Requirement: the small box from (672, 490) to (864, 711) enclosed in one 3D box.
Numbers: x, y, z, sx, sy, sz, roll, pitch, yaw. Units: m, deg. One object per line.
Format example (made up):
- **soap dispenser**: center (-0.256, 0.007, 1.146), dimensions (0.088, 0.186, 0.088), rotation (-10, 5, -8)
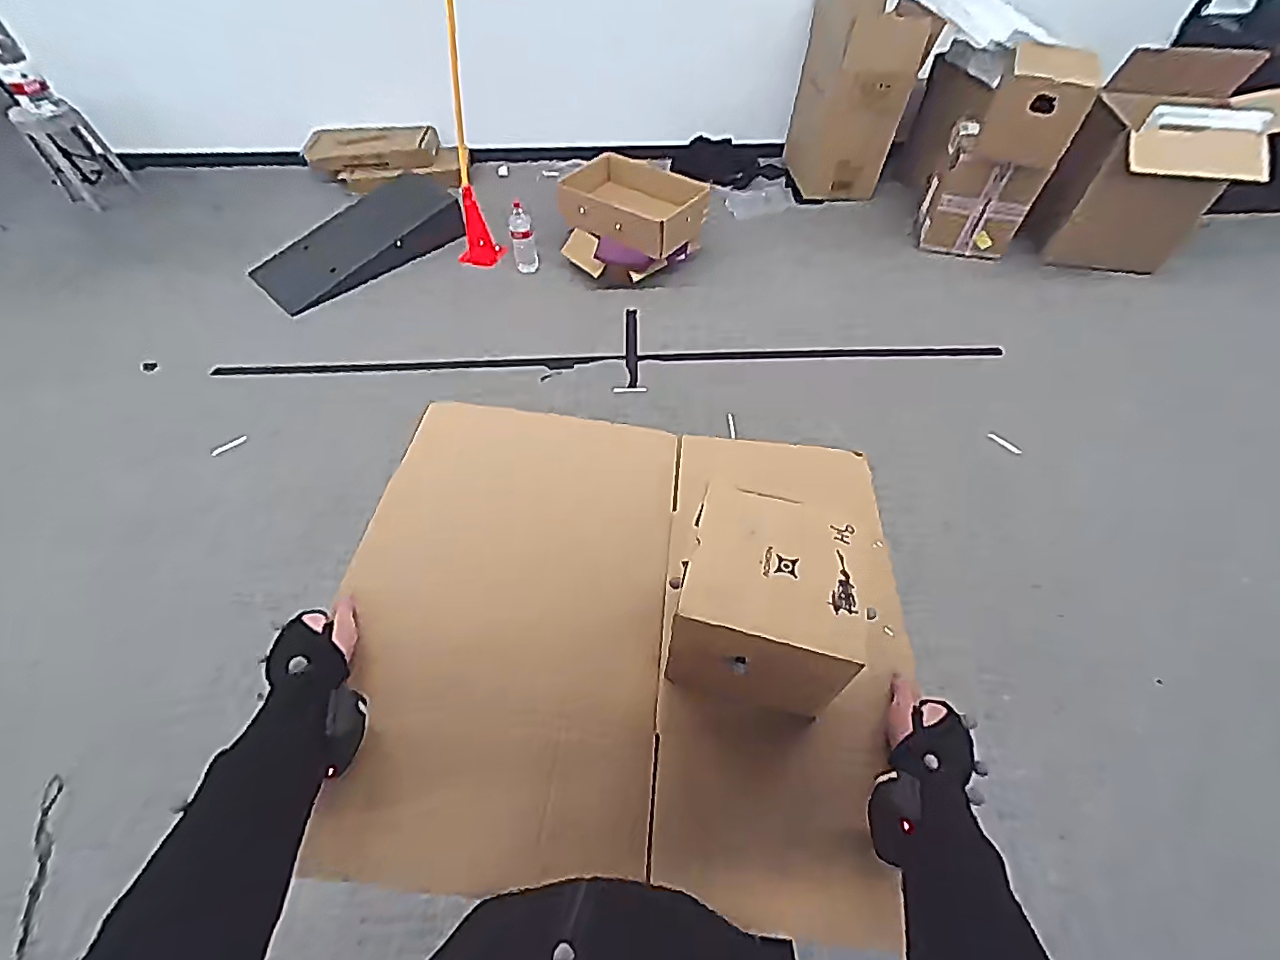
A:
- **small box**: center (0.137, 0.139, 0.608), dimensions (0.179, 0.176, 0.168), rotation (12, 52, 10)
